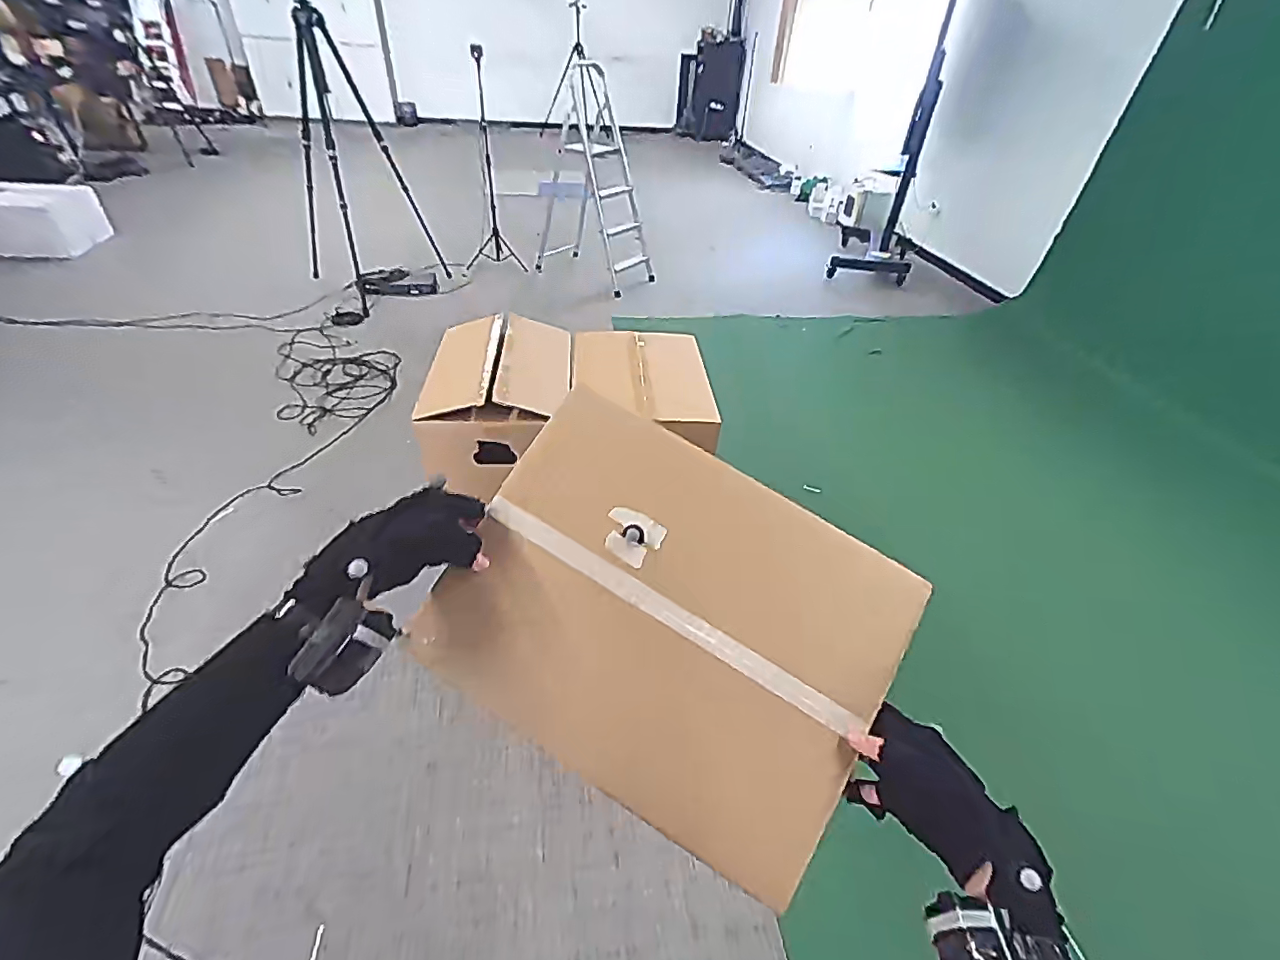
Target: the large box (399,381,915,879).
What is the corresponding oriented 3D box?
[{"bbox_3d":[0.022,0.153,0.654,0.408,0.320,0.320,31,77,10],"label":"large box"}]
